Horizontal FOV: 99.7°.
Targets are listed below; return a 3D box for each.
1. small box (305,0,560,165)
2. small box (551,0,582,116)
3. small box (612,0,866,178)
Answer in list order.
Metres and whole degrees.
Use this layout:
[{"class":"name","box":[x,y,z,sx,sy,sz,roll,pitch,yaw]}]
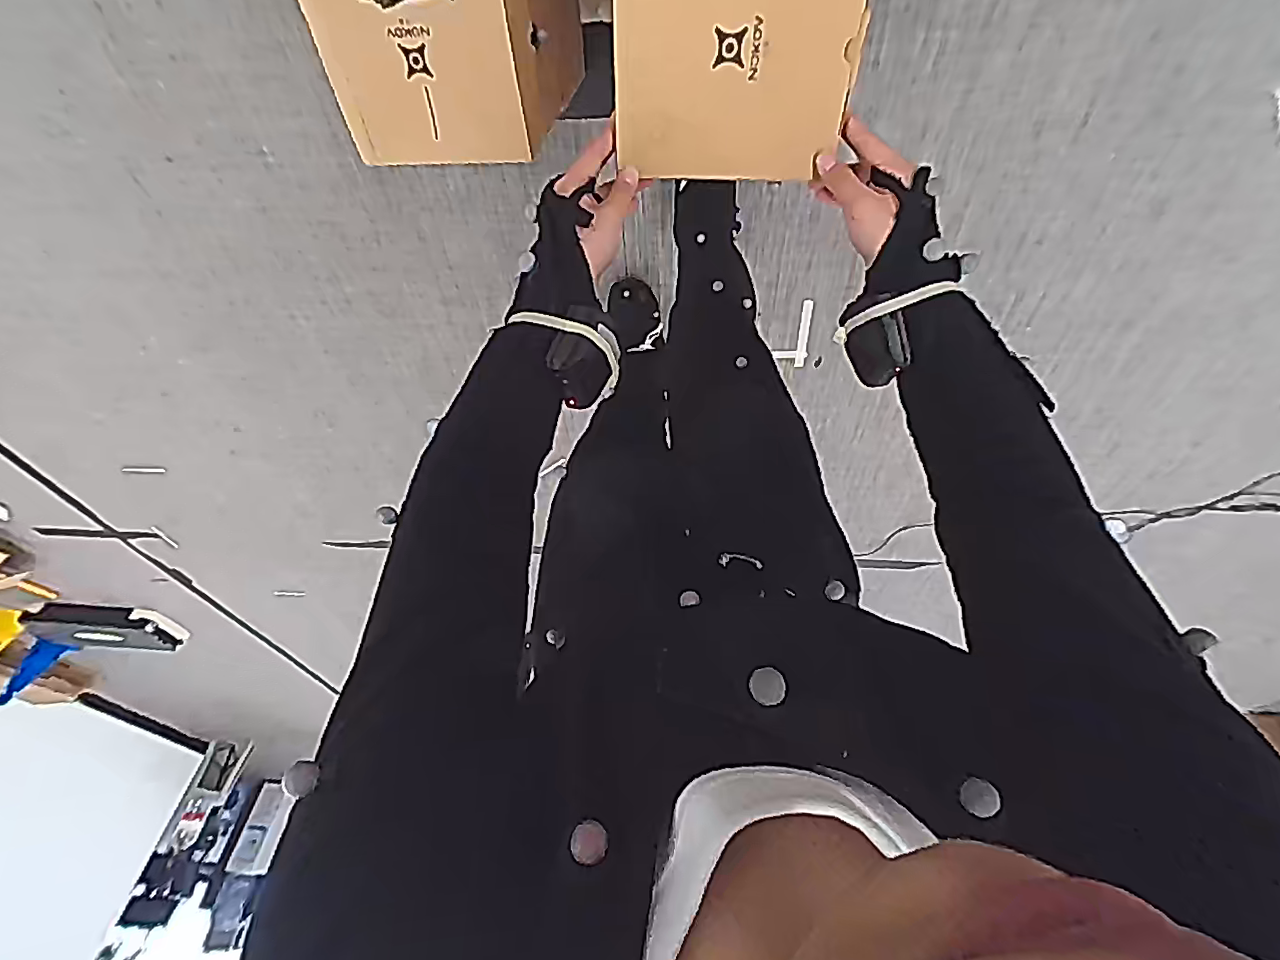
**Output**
[{"class":"small box","box":[-0.175,-0.412,0.493,0.168,0.176,0.179,2,139,4]},{"class":"small box","box":[-0.162,-0.533,0.604,0.168,0.176,0.179,2,139,3]},{"class":"small box","box":[0.069,-0.358,0.447,0.179,0.176,0.168,0,129,0]}]
